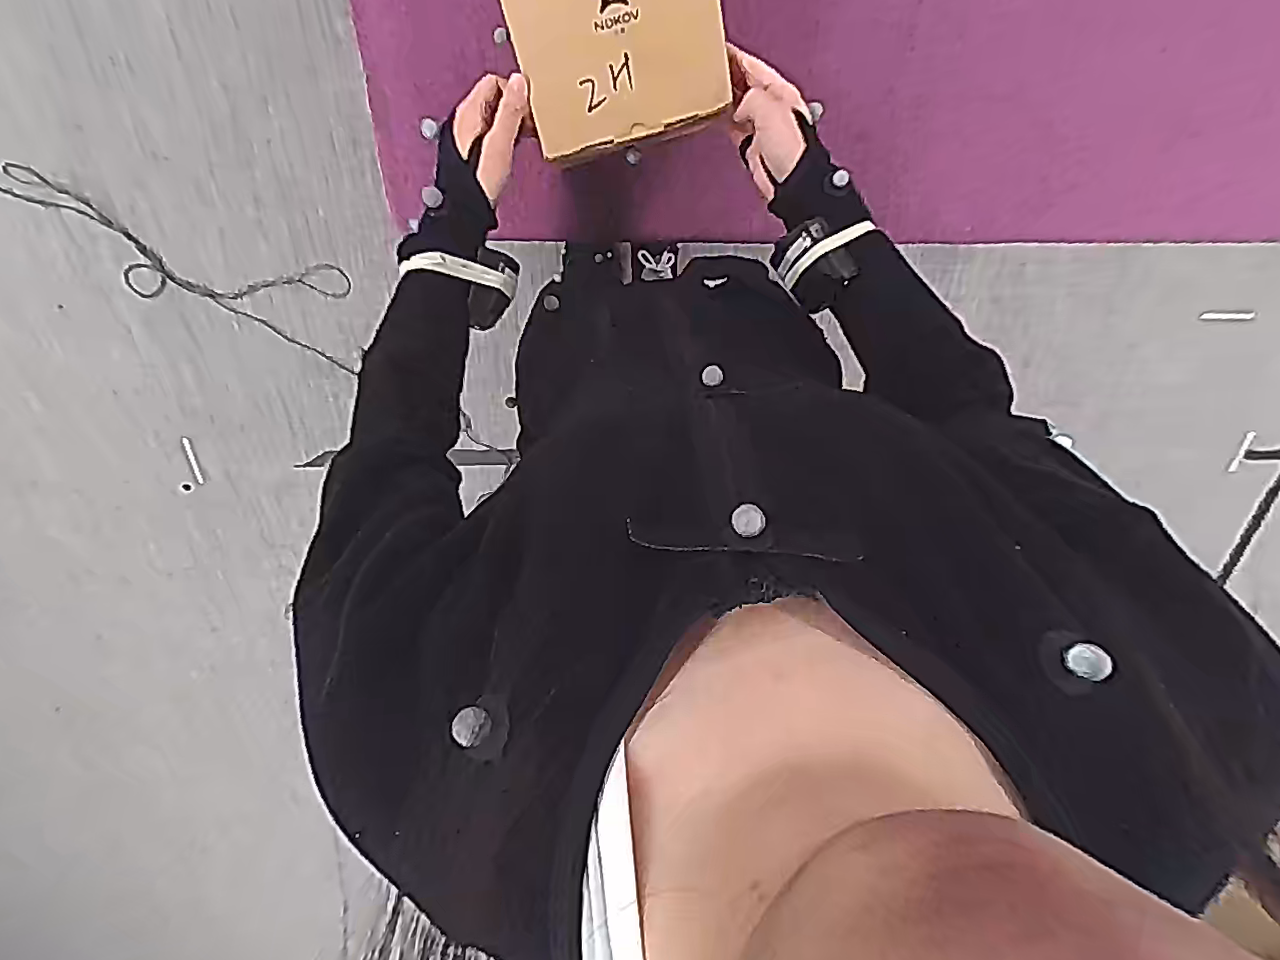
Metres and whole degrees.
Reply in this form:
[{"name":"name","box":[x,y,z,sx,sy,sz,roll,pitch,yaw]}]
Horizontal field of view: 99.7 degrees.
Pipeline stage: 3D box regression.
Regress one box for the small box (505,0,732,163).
[{"name":"small box","box":[-0.026,-0.404,0.483,0.168,0.176,0.179,-13,117,3]}]

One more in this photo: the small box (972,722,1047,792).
[{"name":"small box","box":[1.495,1.119,2.198,0.168,0.176,0.179,-35,115,14]}]
